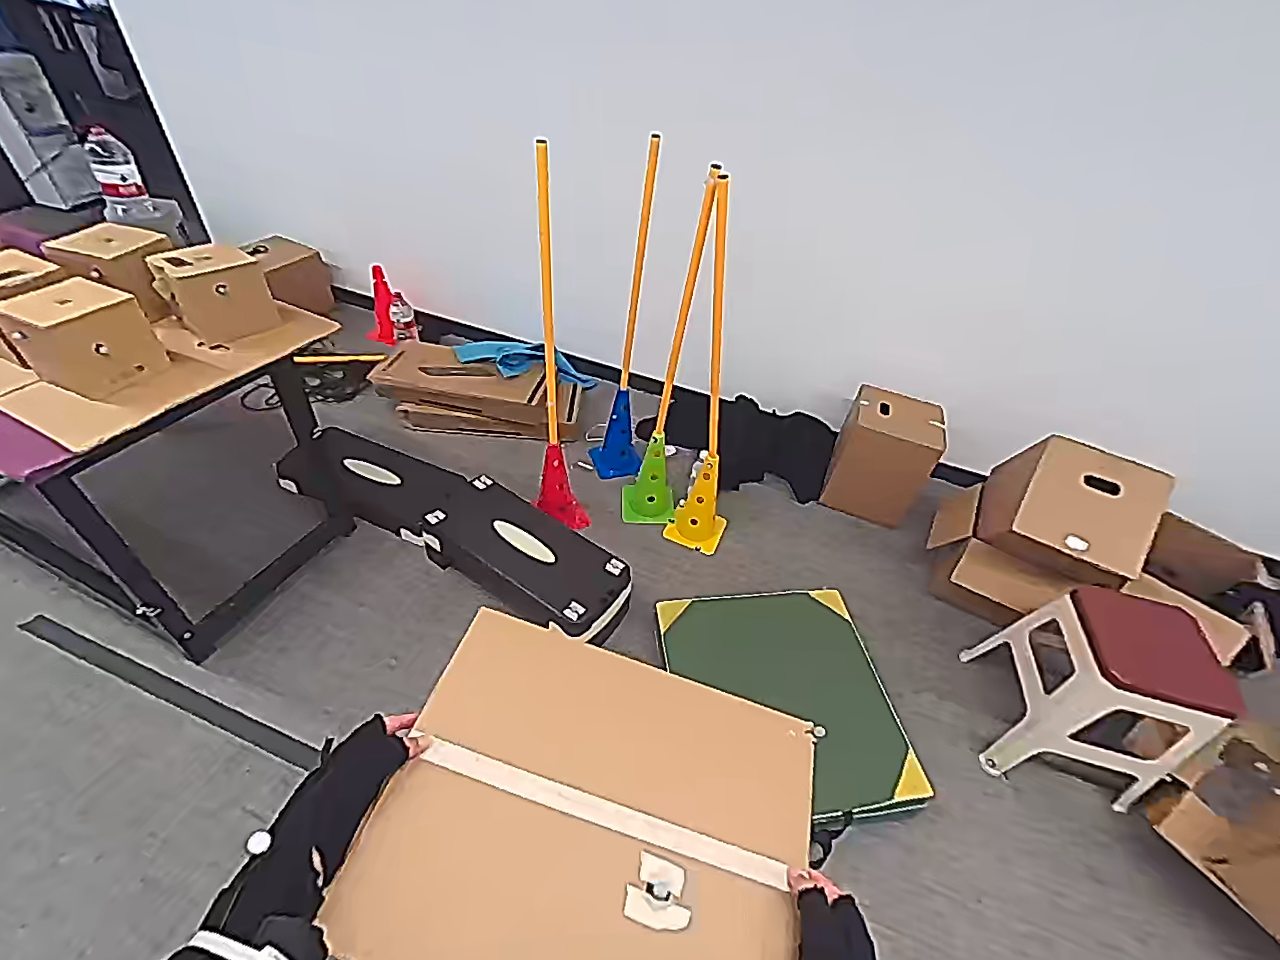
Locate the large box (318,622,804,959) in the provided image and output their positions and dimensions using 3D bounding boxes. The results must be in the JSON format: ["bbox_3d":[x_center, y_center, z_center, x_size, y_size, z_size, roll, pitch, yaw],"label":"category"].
[{"bbox_3d":[-0.066,0.429,0.634,0.408,0.320,0.320,19,47,3],"label":"large box"}]
